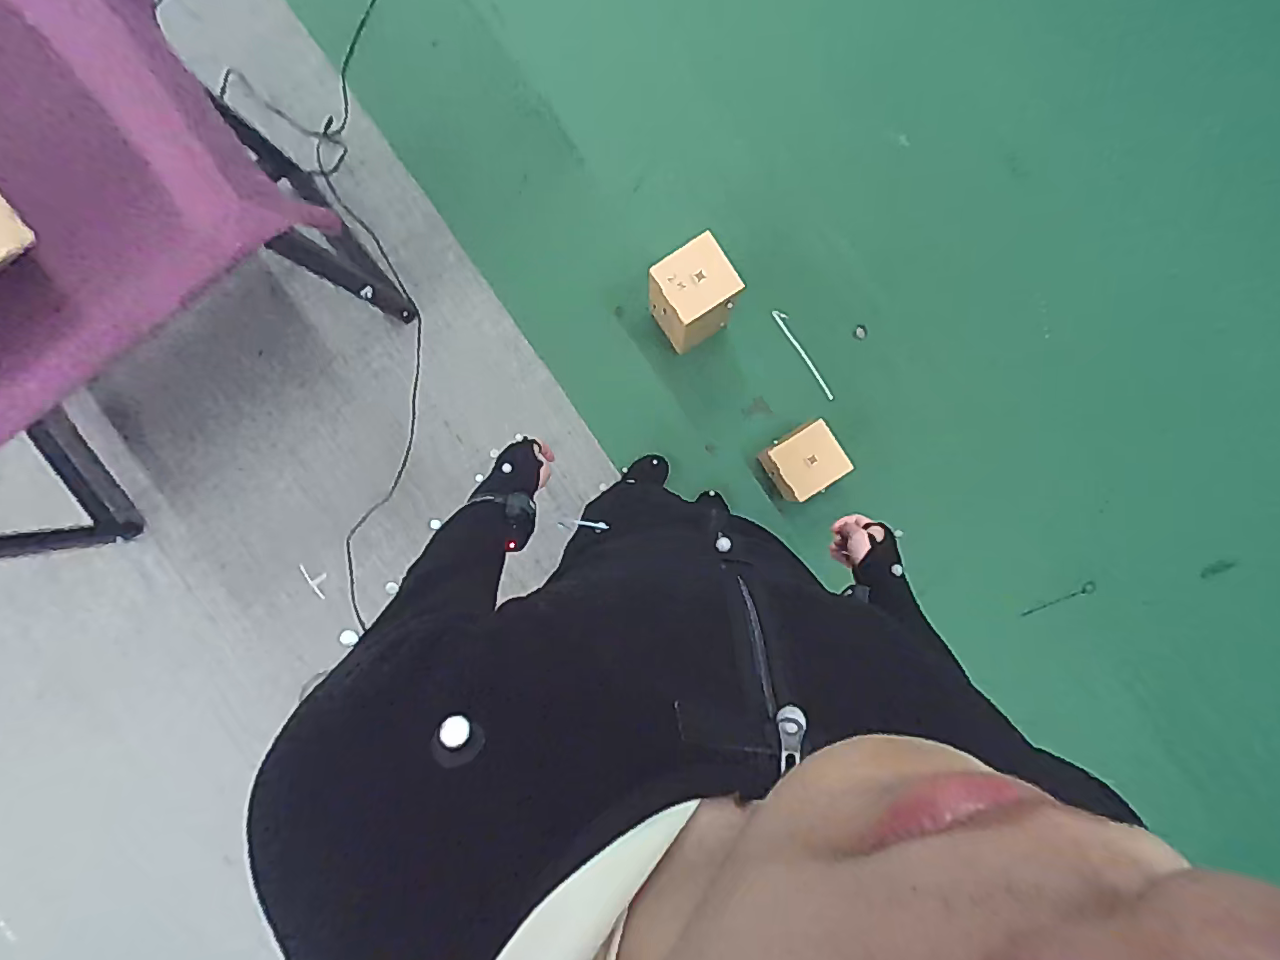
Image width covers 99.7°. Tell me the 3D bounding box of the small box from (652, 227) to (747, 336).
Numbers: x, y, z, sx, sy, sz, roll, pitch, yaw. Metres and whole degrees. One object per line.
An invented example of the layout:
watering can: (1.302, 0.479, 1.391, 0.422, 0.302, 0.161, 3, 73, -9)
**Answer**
small box: (0.143, -0.494, 1.370, 0.179, 0.176, 0.168, -32, 89, 2)

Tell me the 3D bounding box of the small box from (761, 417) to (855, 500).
small box: (0.468, -0.062, 1.535, 0.179, 0.176, 0.168, -33, 90, 3)
